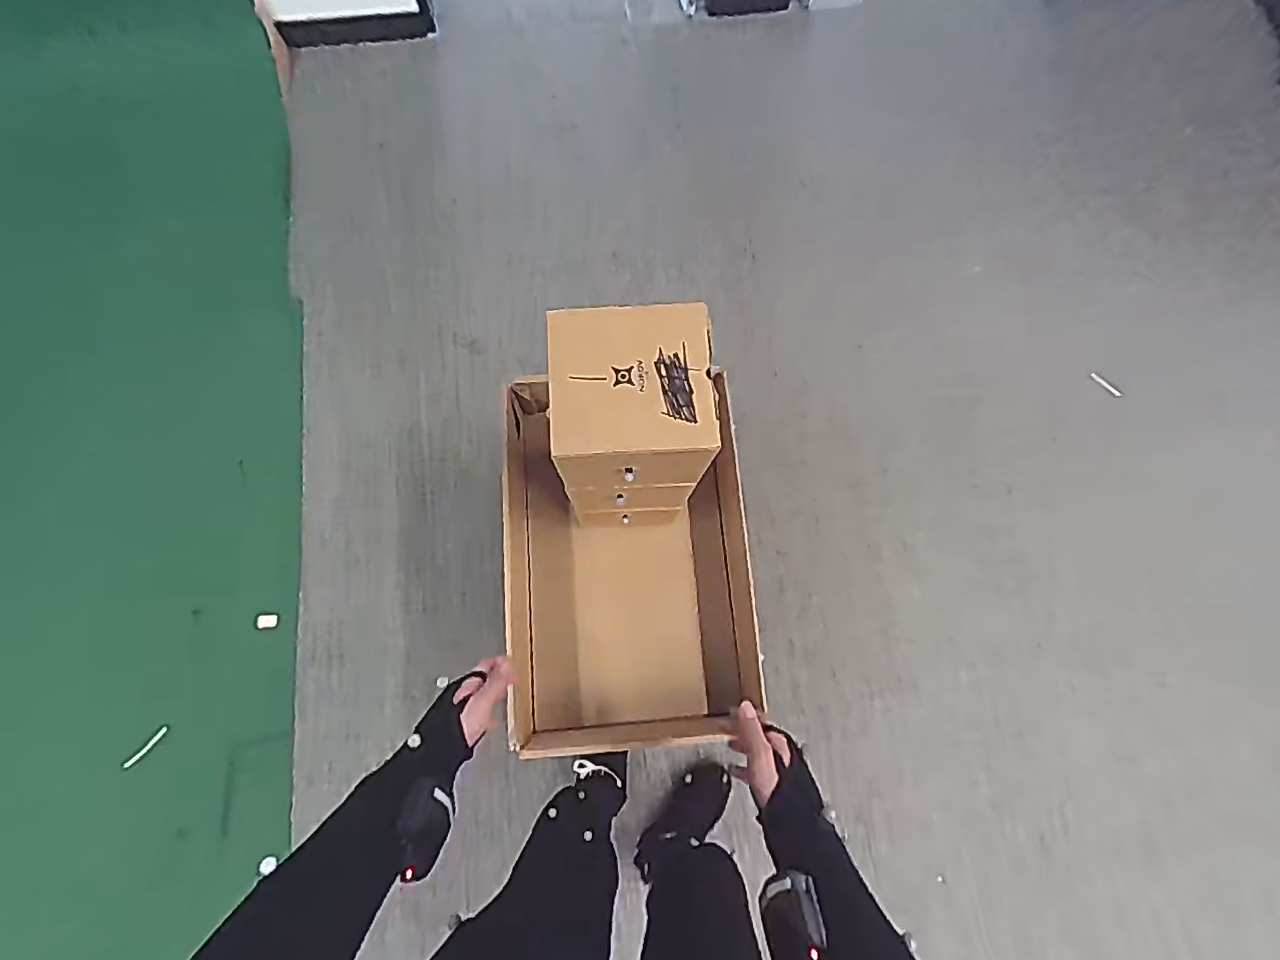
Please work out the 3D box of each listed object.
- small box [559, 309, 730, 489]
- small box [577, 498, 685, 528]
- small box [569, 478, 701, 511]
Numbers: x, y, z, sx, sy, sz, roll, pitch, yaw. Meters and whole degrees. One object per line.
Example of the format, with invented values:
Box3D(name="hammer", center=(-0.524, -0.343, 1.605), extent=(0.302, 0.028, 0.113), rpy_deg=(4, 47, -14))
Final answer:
Box3D(name="small box", center=(-0.001, -0.086, 0.642), extent=(0.179, 0.176, 0.168), rpy_deg=(-3, 77, -3))
Box3D(name="small box", center=(-0.019, -0.007, 0.961), extent=(0.179, 0.176, 0.168), rpy_deg=(0, 77, -4))
Box3D(name="small box", center=(-0.010, -0.048, 0.803), extent=(0.179, 0.176, 0.168), rpy_deg=(-2, 78, -2))
